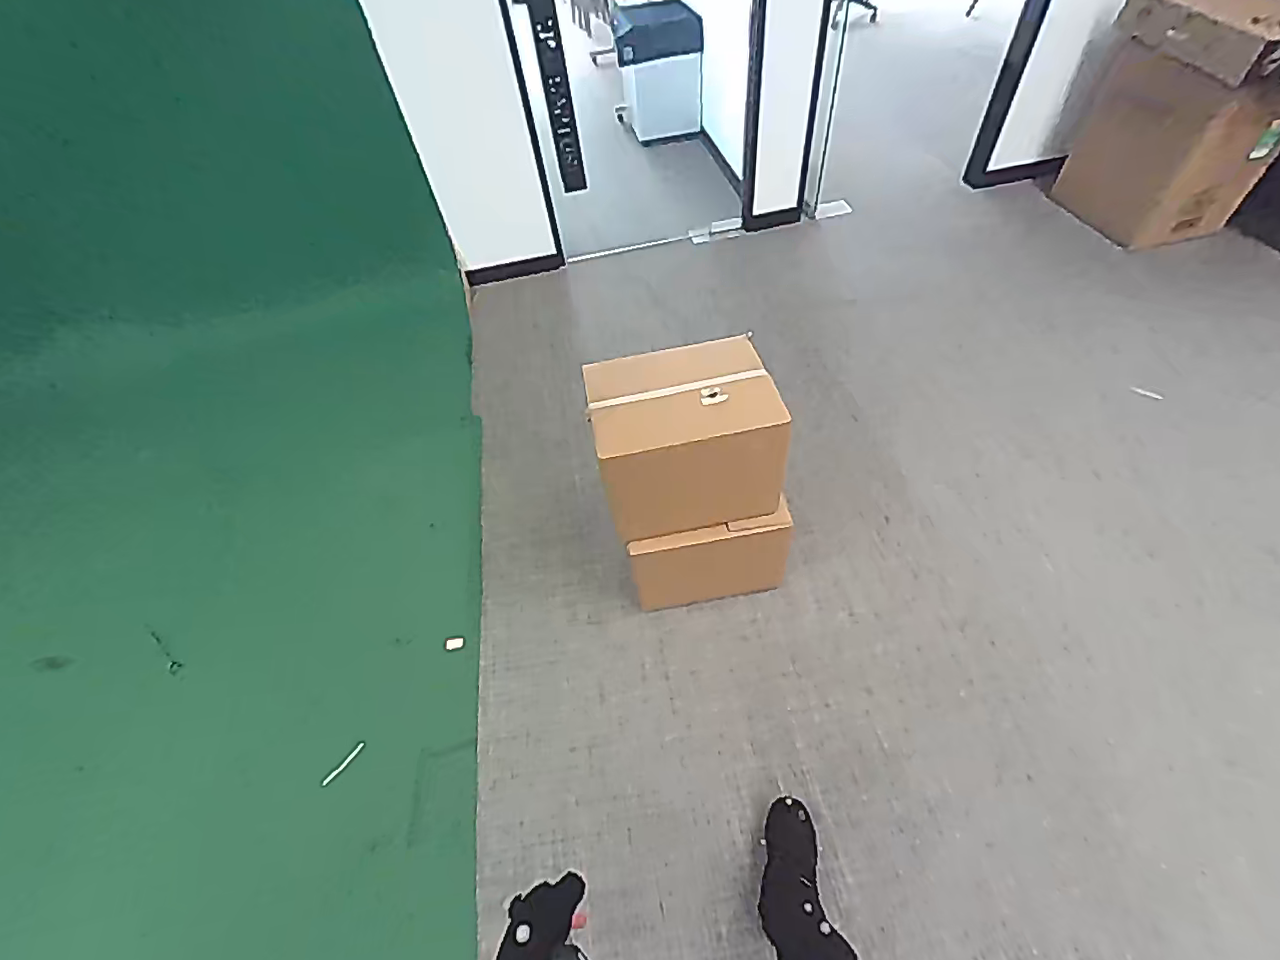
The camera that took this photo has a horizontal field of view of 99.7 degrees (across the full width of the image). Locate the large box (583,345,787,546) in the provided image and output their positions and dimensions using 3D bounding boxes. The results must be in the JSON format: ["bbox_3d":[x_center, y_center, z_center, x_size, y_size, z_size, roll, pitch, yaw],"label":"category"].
[{"bbox_3d":[0.096,-0.081,1.299,0.408,0.320,0.320,-10,48,-2],"label":"large box"}]
